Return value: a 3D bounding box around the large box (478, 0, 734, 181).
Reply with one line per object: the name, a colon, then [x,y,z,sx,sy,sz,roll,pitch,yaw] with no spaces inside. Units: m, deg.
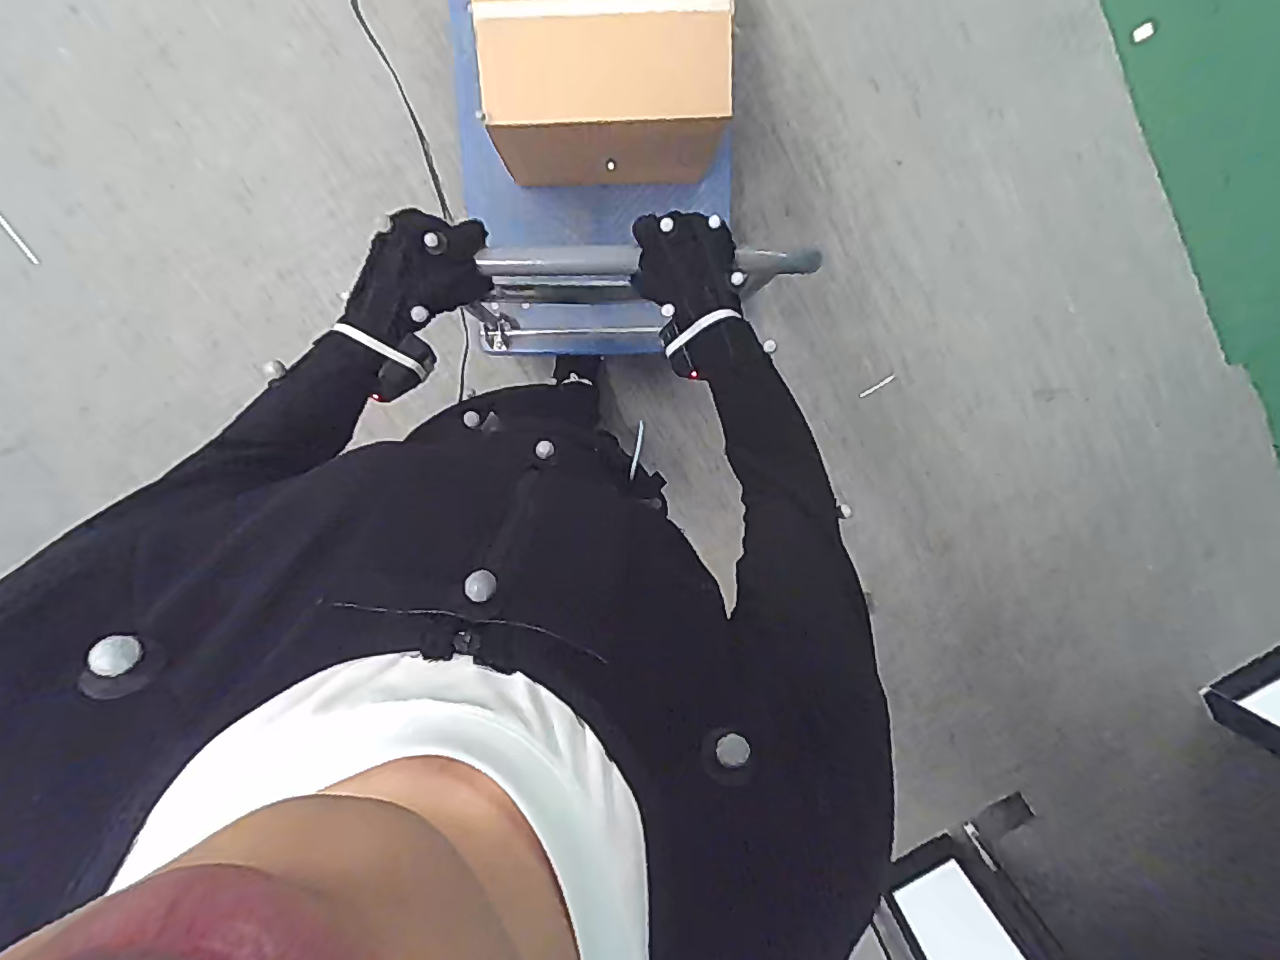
large box: [-0.057,-0.770,0.995,0.408,0.320,0.320,-3,102,-1]
